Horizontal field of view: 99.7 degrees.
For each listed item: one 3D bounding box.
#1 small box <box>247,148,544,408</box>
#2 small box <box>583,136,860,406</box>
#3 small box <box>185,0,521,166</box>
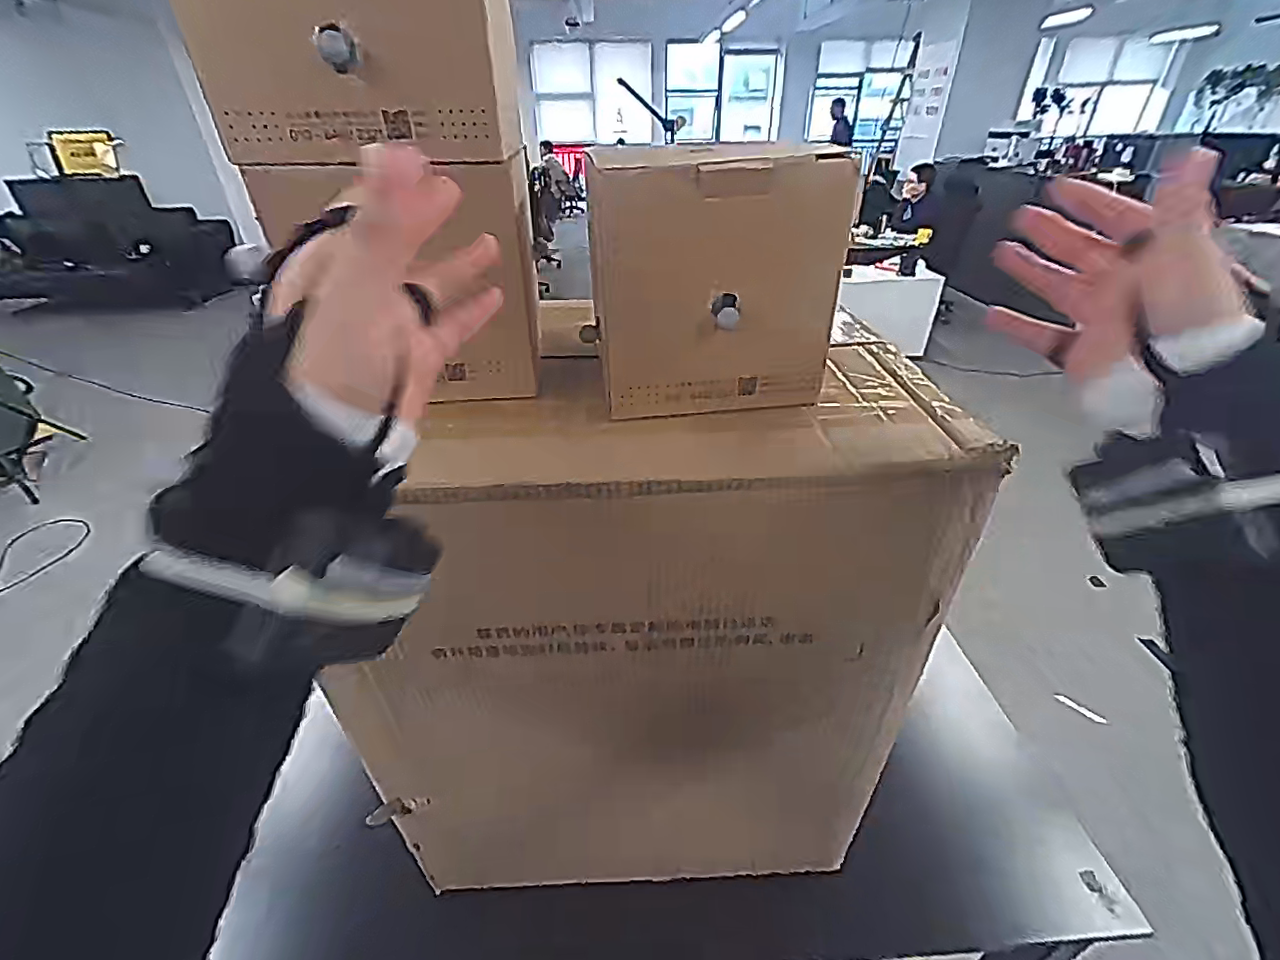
[{"bbox_3d":[-0.172,-0.174,0.451,0.168,0.176,0.179,-5,35,-6],"label":"small box"},{"bbox_3d":[0.045,-0.167,0.431,0.168,0.176,0.179,-5,35,-6],"label":"small box"},{"bbox_3d":[-0.175,-0.310,0.356,0.168,0.176,0.179,-4,34,-4],"label":"small box"}]
